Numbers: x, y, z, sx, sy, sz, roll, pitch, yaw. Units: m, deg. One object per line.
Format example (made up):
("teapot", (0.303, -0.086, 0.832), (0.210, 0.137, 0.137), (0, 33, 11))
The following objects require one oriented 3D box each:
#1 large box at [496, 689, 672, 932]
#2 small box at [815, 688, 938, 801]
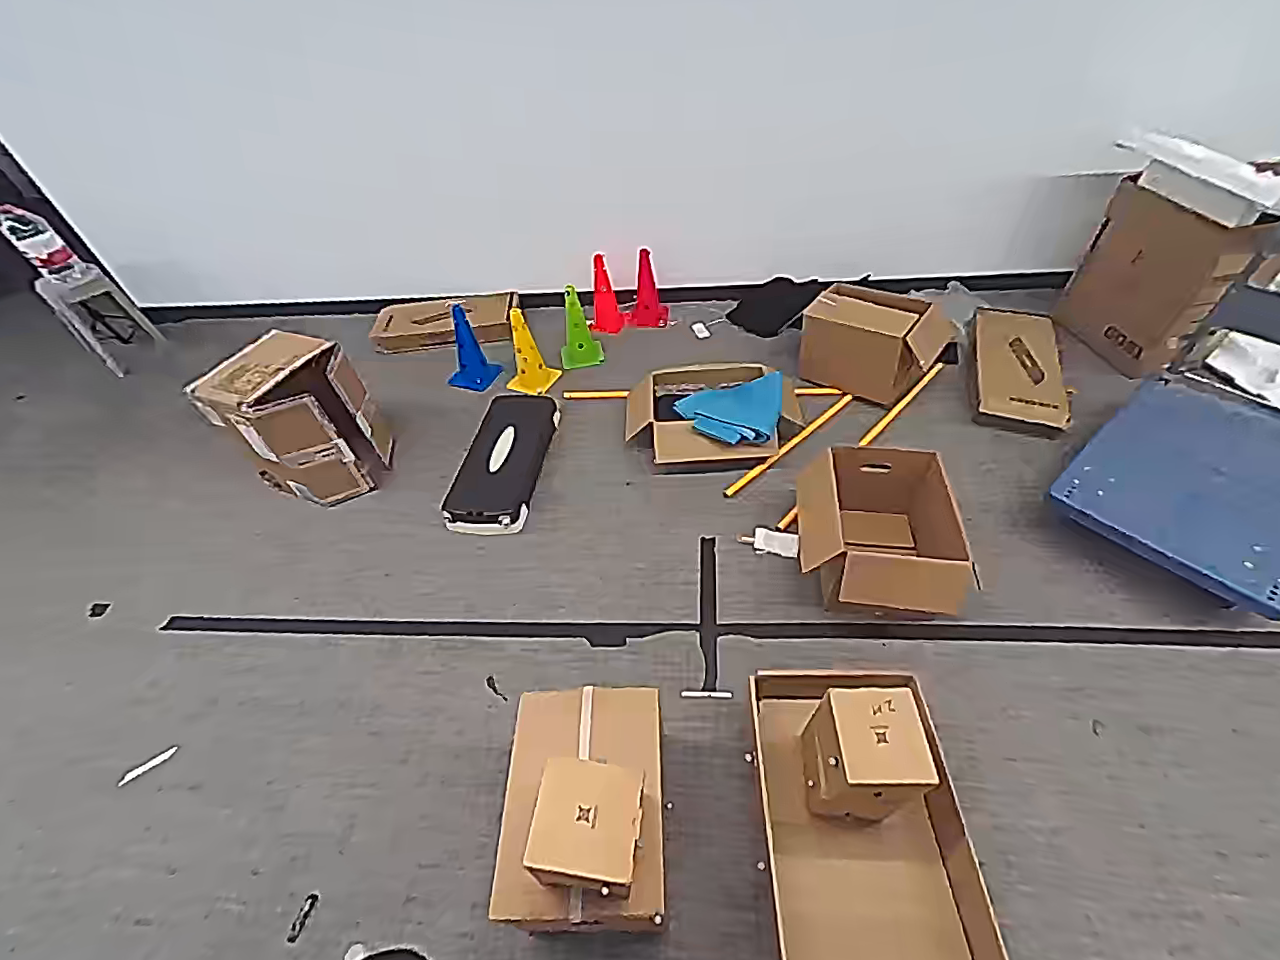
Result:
("large box", (-0.097, 0.716, 1.179), (0.320, 0.320, 0.408), (-4, 48, 3))
("small box", (0.464, 0.536, 1.091), (0.168, 0.176, 0.179), (-1, 49, 3))
